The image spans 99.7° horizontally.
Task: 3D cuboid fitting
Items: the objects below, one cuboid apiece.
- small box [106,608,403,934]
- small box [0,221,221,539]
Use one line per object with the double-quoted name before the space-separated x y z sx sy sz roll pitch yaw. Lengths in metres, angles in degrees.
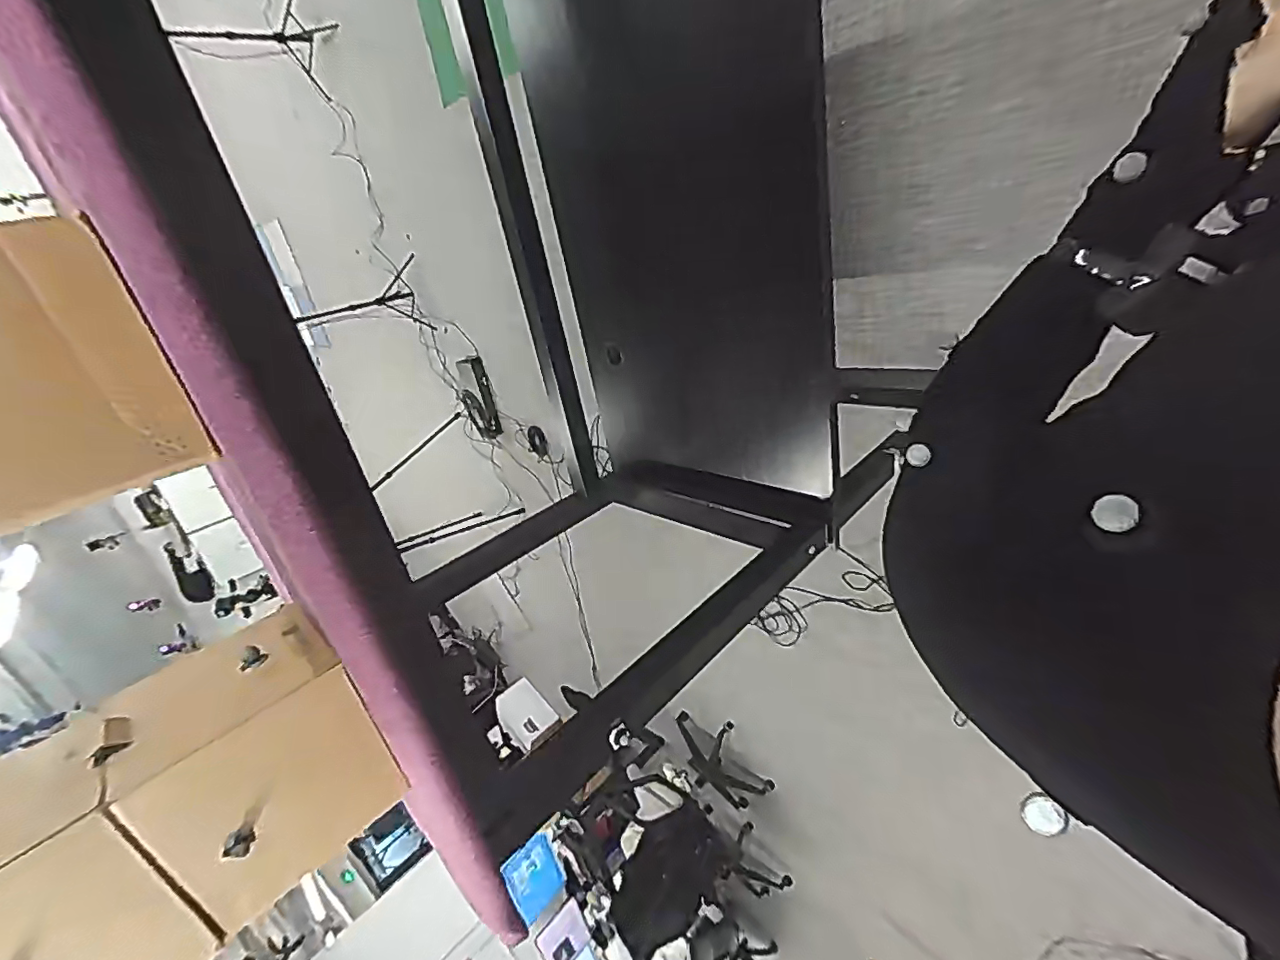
"small box" -0.358 0.259 0.521 0.168 0.176 0.179 13 124 44
"small box" -0.440 -0.070 0.390 0.168 0.176 0.179 16 126 46
